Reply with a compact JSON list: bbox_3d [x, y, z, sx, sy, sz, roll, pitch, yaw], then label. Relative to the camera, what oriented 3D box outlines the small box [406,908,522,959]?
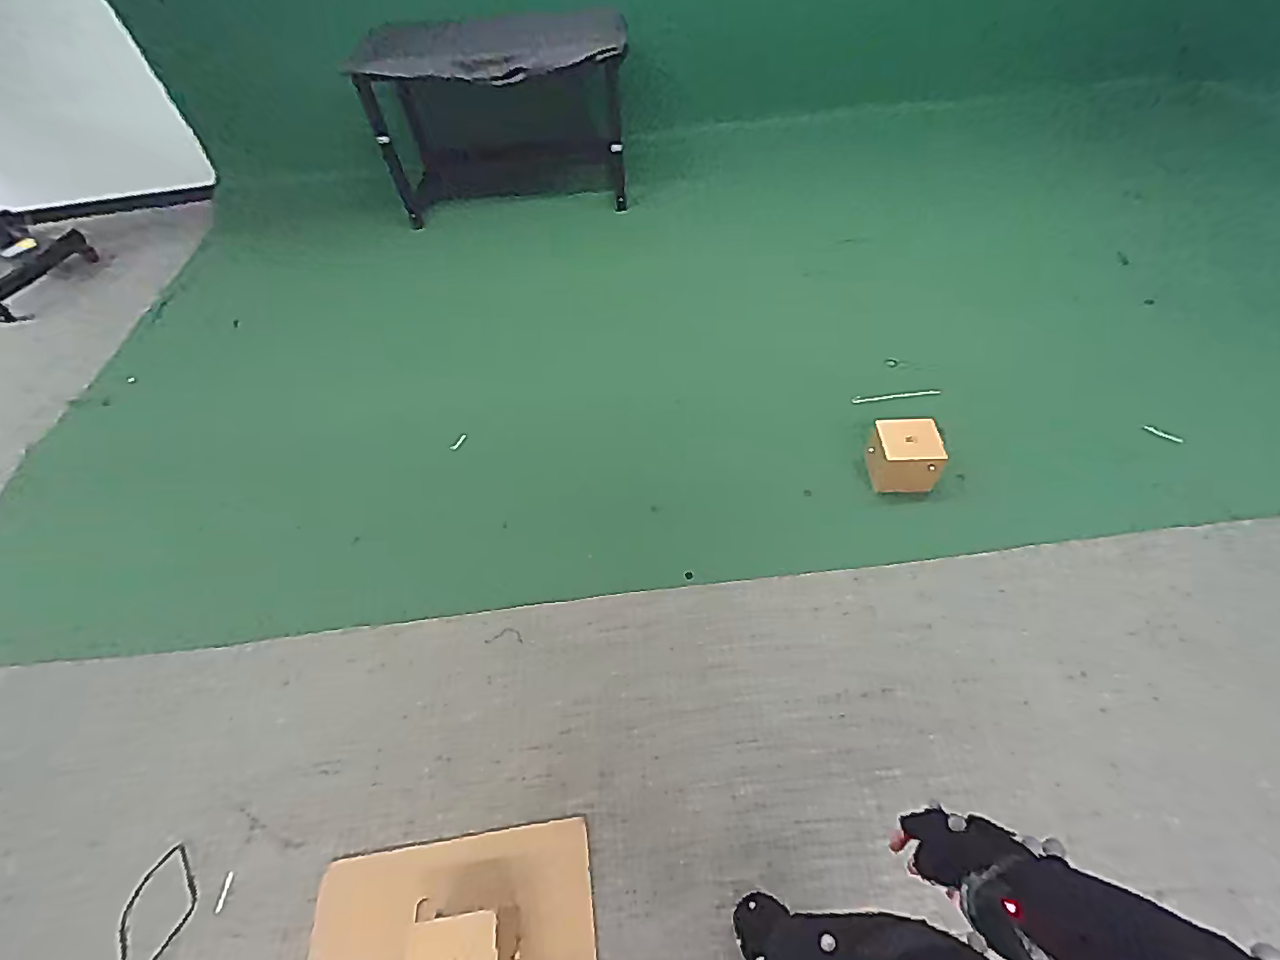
[{"bbox_3d":[-0.336,0.946,1.044,0.179,0.176,0.168,-9,54,-2],"label":"small box"}]

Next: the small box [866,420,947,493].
[{"bbox_3d":[0.828,-0.070,1.705,0.179,0.176,0.168,-1,53,5],"label":"small box"}]
